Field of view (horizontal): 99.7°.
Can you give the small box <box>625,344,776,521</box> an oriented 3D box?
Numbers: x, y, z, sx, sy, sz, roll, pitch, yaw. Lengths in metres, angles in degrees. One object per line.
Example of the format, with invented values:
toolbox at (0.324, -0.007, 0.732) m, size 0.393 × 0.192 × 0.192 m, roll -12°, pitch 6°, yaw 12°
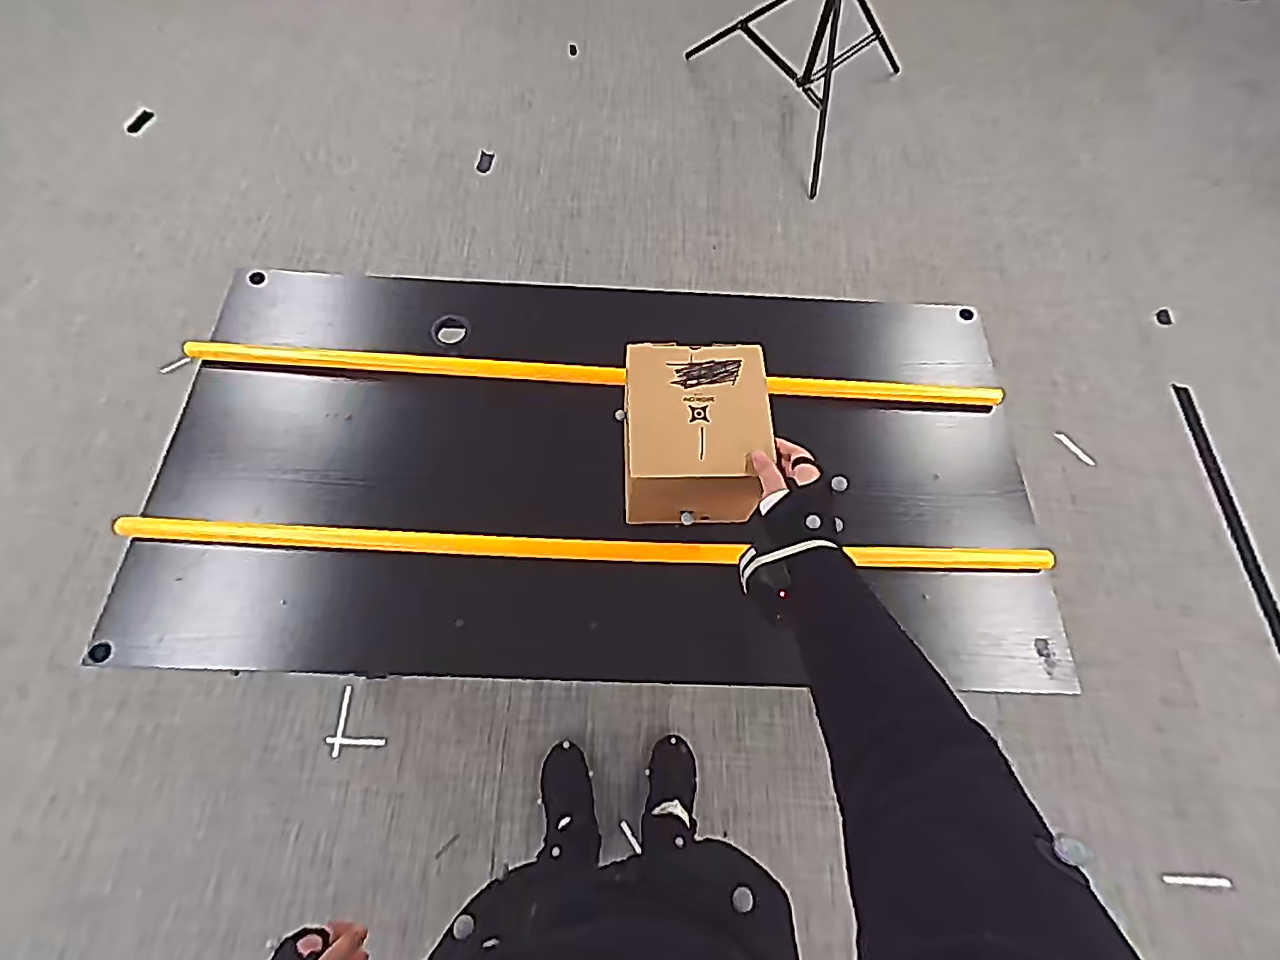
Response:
small box at (0.065, -0.055, 0.703) m, size 0.168 × 0.176 × 0.179 m, roll -1°, pitch 68°, yaw -3°
